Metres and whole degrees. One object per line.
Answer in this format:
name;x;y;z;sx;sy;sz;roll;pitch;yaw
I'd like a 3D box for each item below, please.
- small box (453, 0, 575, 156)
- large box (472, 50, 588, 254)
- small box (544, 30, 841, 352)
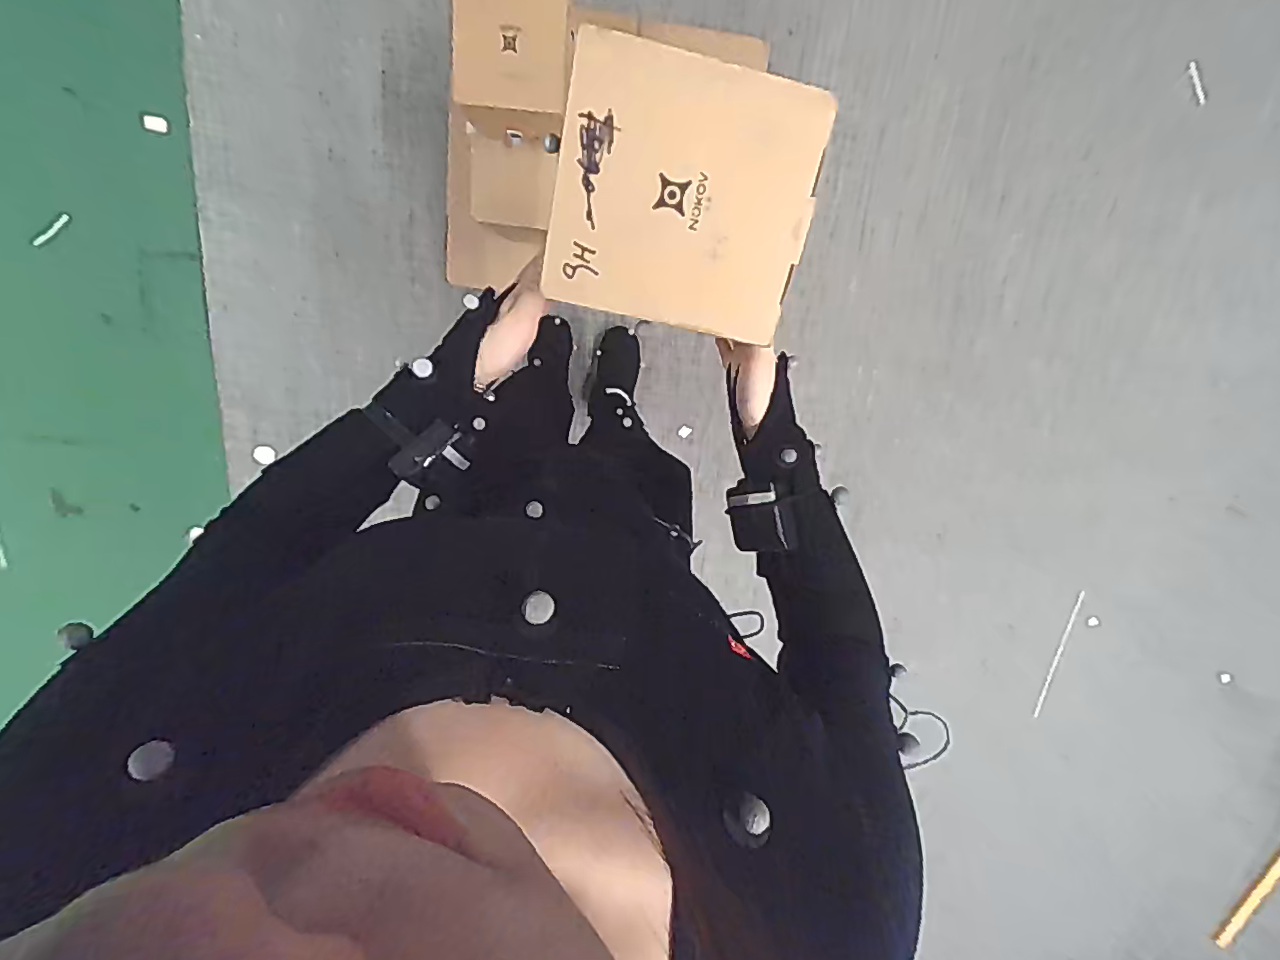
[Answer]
small box;-0.195;-0.652;0.871;0.168;0.176;0.179;4;106;-3
large box;-0.116;-0.647;1.131;0.408;0.320;0.320;5;107;-5
small box;0.026;-0.212;0.446;0.179;0.176;0.168;11;105;-9
